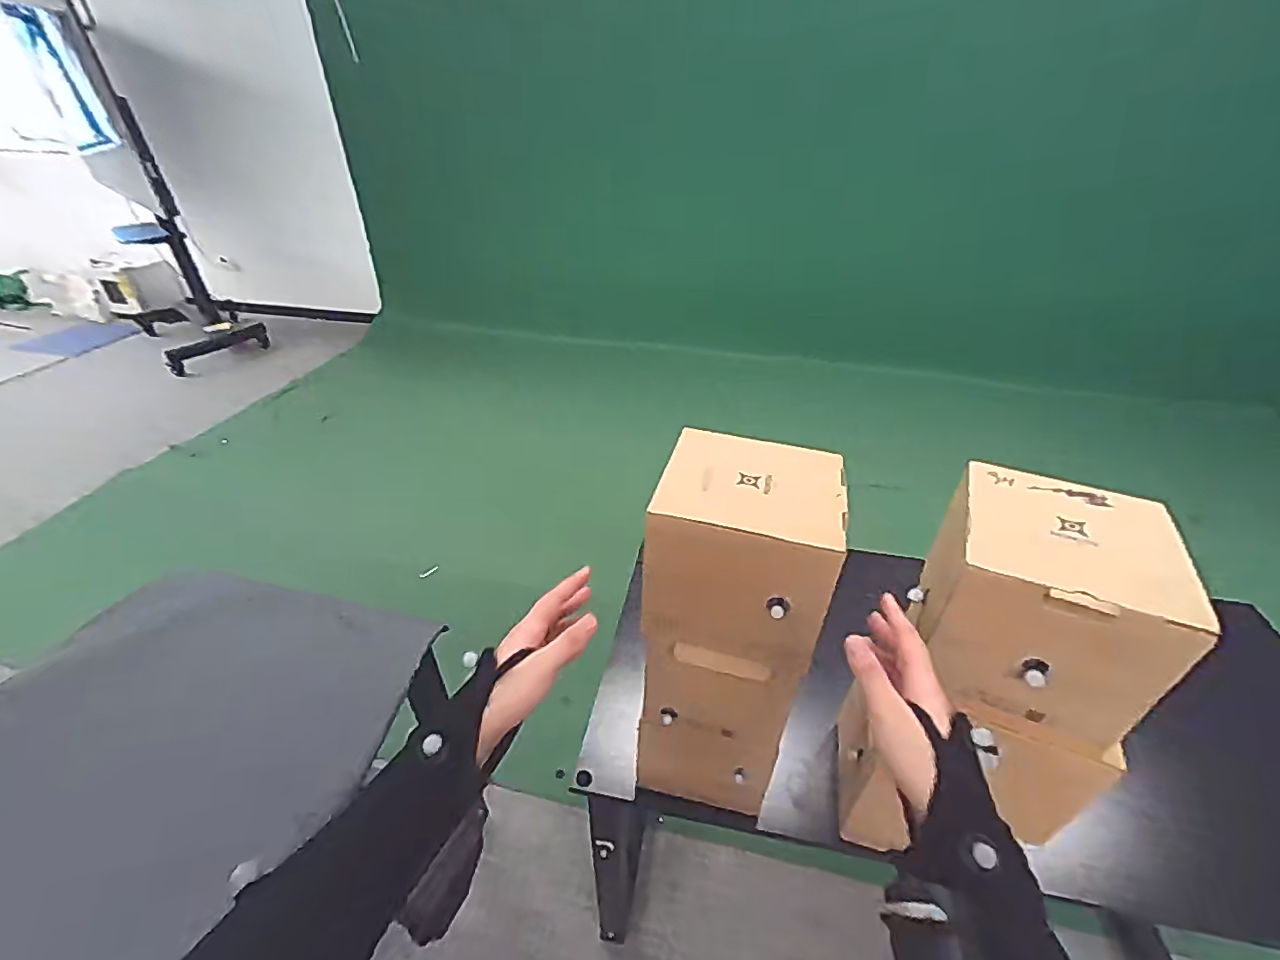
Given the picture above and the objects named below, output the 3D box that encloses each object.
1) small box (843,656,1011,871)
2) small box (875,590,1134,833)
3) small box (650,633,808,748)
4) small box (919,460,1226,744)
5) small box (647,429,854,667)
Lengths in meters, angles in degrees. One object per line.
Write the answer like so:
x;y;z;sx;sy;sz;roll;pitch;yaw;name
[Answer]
0.372;0.371;0.712;0.168;0.176;0.179;11;37;13;small box
0.381;0.252;0.599;0.179;0.176;0.168;15;39;19;small box
0.112;0.196;0.670;0.168;0.176;0.179;10;36;11;small box
0.380;0.111;0.515;0.168;0.176;0.179;16;40;22;small box
0.112;0.068;0.568;0.179;0.176;0.168;10;35;12;small box
